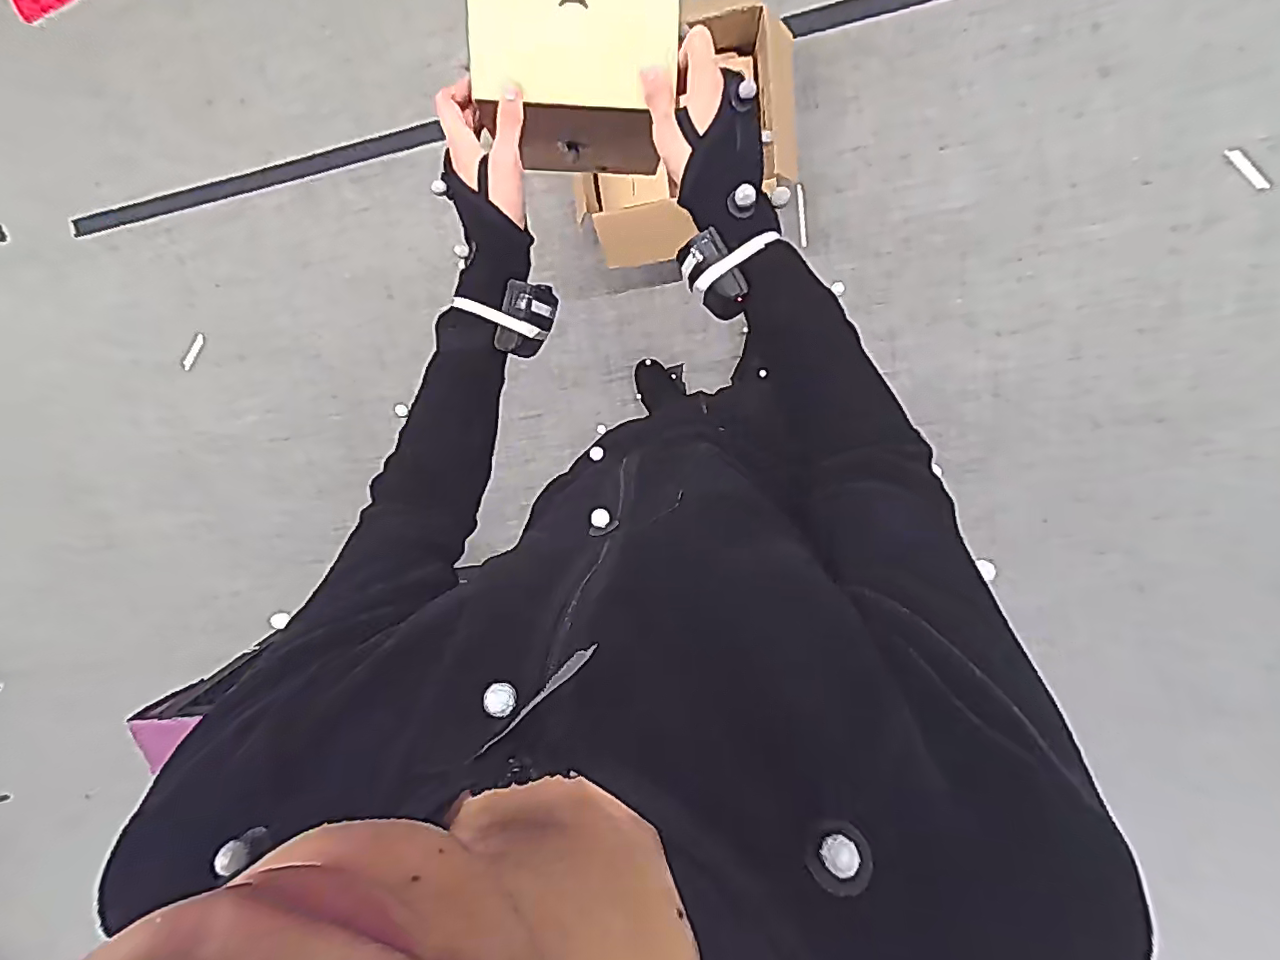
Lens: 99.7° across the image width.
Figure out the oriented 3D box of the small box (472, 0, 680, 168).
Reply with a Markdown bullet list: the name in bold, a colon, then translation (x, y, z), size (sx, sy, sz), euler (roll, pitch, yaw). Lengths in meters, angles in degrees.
- **small box**: translation (-0.054, -0.408, 0.497), size (0.168, 0.176, 0.179), euler (0, 103, -5)
